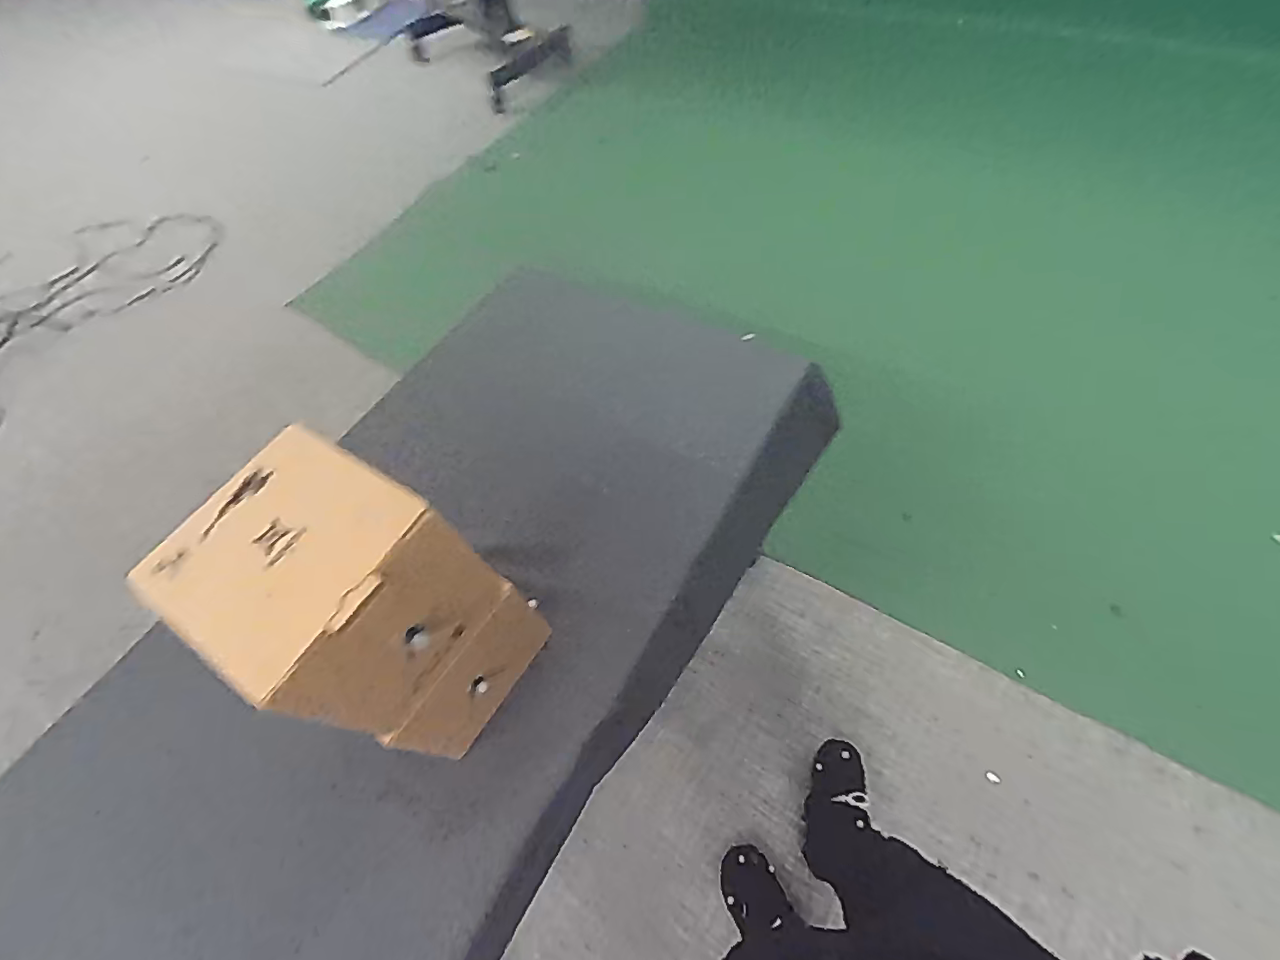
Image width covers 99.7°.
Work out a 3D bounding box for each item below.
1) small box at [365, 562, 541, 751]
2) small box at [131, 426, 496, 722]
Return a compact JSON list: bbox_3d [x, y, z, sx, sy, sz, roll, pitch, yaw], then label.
[{"bbox_3d":[-0.232,0.176,0.609,0.168,0.176,0.179,27,67,22],"label":"small box"},{"bbox_3d":[-0.258,0.089,0.473,0.179,0.176,0.168,27,66,21],"label":"small box"}]
